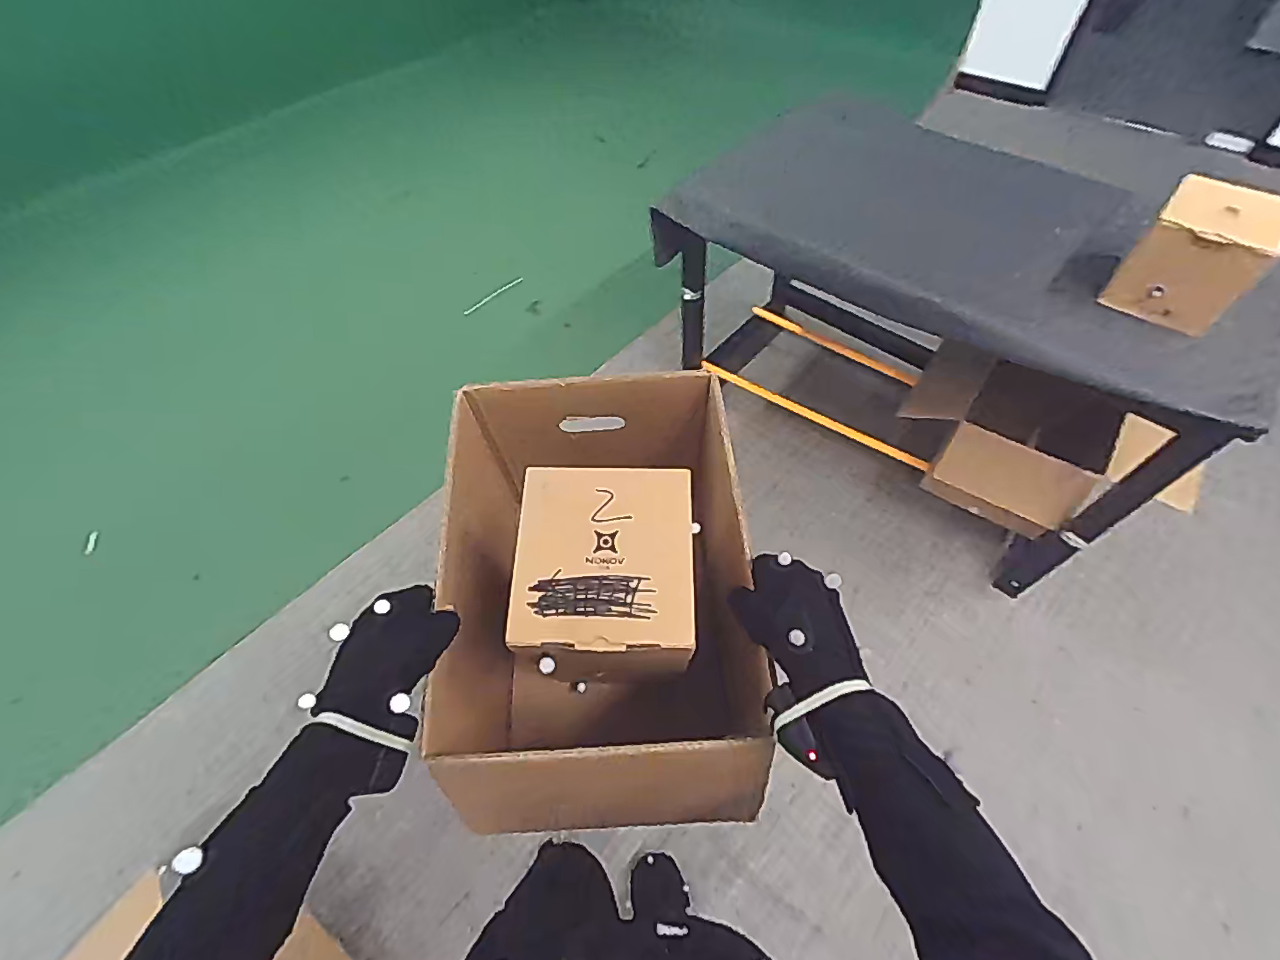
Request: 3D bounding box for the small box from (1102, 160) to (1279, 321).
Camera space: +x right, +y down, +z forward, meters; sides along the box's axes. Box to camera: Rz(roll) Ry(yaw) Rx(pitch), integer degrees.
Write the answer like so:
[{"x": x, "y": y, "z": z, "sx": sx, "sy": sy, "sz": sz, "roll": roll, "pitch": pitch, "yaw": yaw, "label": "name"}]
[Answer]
[{"x": 0.969, "y": -0.416, "z": 0.947, "sx": 0.168, "sy": 0.176, "sz": 0.179, "roll": 35, "pitch": 67, "yaw": 24, "label": "small box"}]
